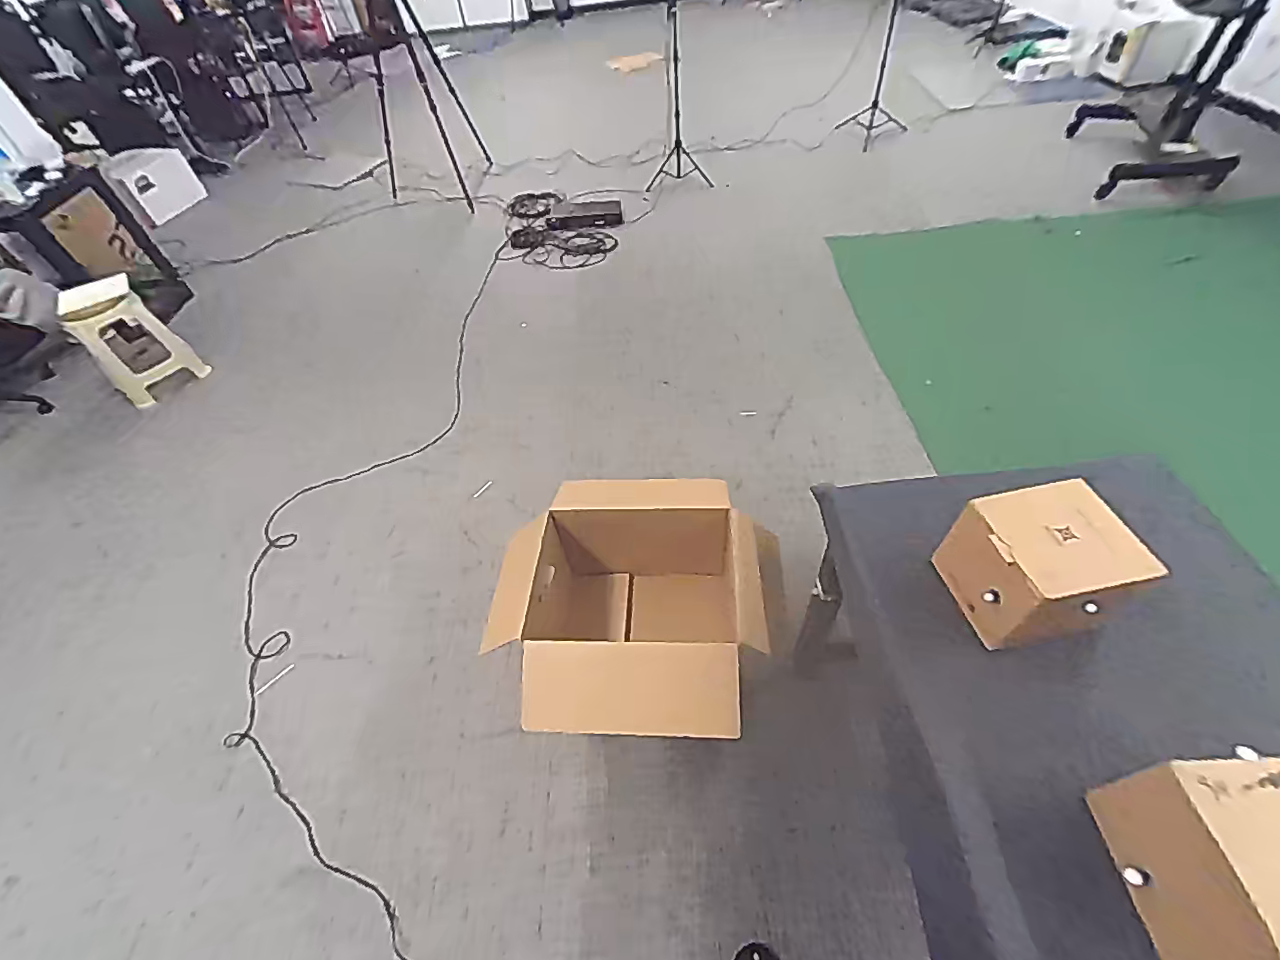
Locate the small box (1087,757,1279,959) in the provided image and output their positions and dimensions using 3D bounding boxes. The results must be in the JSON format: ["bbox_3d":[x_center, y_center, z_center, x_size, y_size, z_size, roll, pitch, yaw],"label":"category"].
[{"bbox_3d":[0.627,0.400,0.558,0.168,0.176,0.179,-3,50,3],"label":"small box"}]

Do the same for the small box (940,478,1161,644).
[{"bbox_3d":[0.577,0.124,0.799,0.179,0.176,0.168,-10,51,-5],"label":"small box"}]
